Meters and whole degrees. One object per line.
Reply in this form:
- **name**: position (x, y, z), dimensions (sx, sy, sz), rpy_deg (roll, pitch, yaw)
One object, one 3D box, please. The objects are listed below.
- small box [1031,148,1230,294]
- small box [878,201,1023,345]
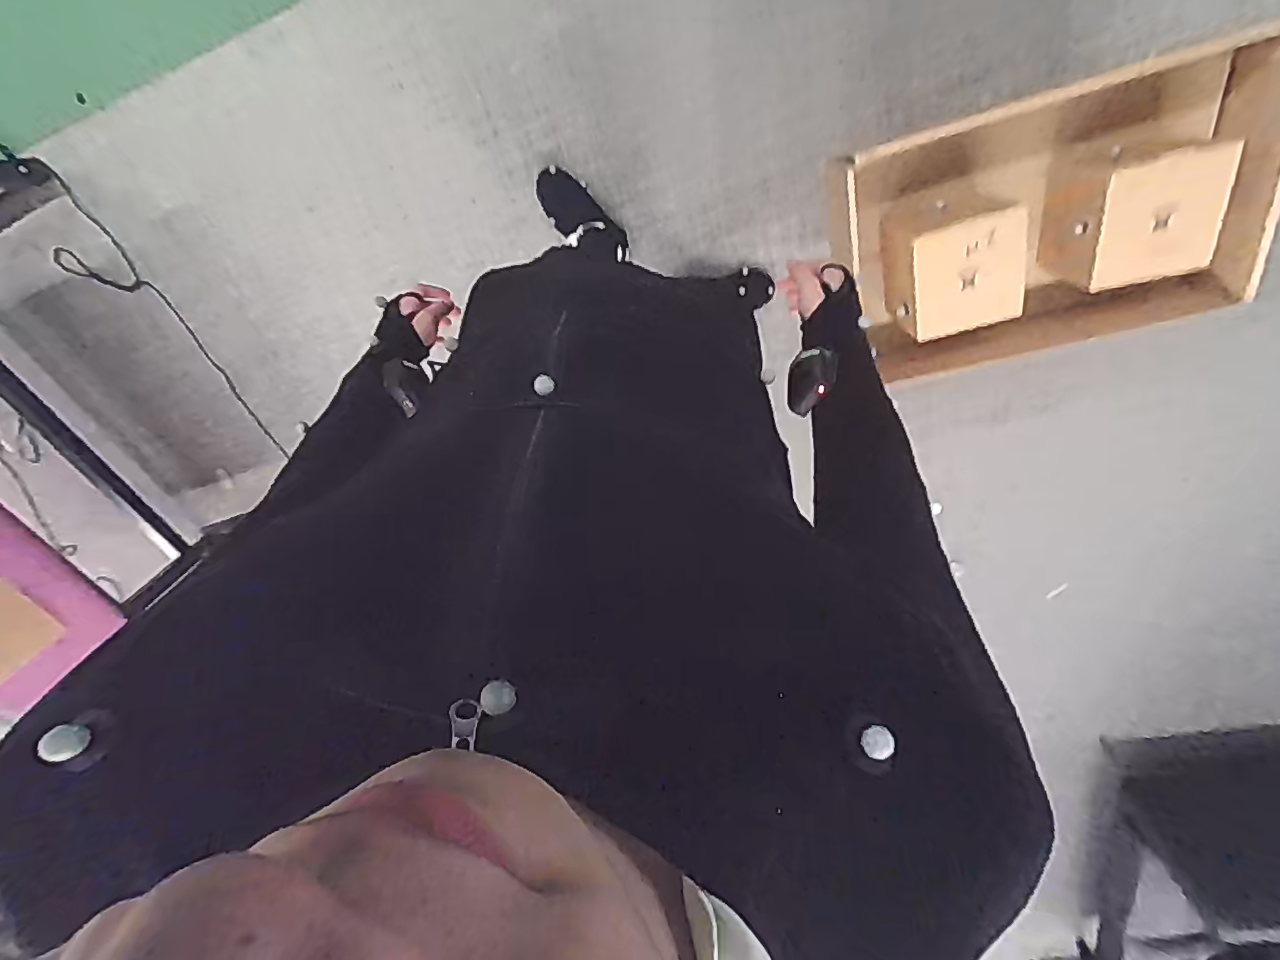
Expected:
- **small box**: position (0.784, -0.430, 0.891), dimensions (0.168, 0.176, 0.179), rpy_deg (-10, 122, 10)
- **small box**: position (0.530, -0.364, 0.944), dimensions (0.168, 0.176, 0.179), rpy_deg (-14, 121, 11)
